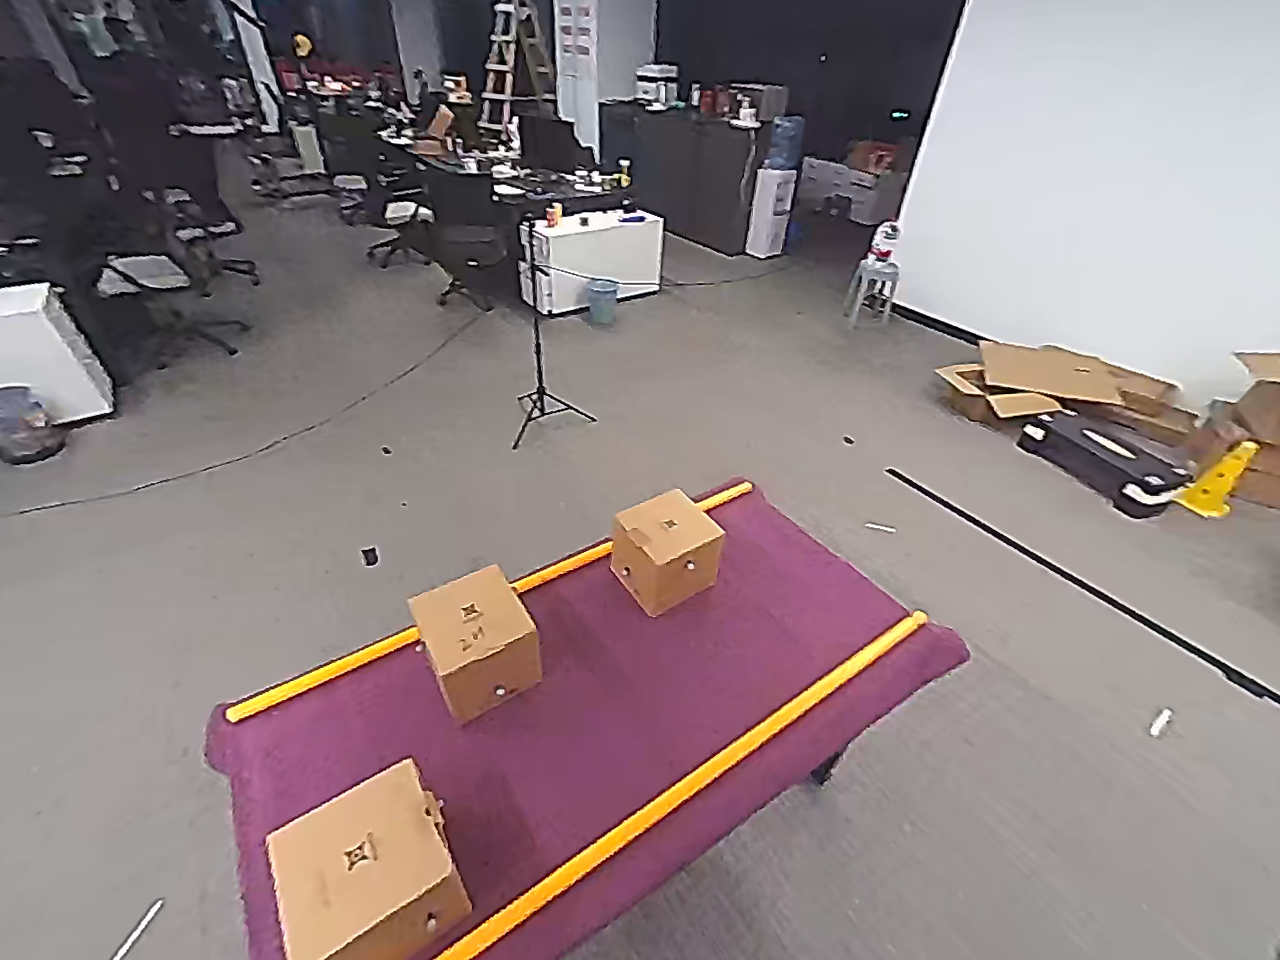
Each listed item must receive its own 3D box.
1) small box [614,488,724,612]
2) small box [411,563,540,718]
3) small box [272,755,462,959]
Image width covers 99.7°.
[{"bbox_3d":[0.054,0.151,1.178,0.179,0.176,0.168,-22,47,-27],"label":"small box"},{"bbox_3d":[-0.295,0.290,0.982,0.168,0.176,0.179,-22,47,-27],"label":"small box"},{"bbox_3d":[-0.344,0.510,0.704,0.179,0.176,0.168,-21,44,-30],"label":"small box"}]
